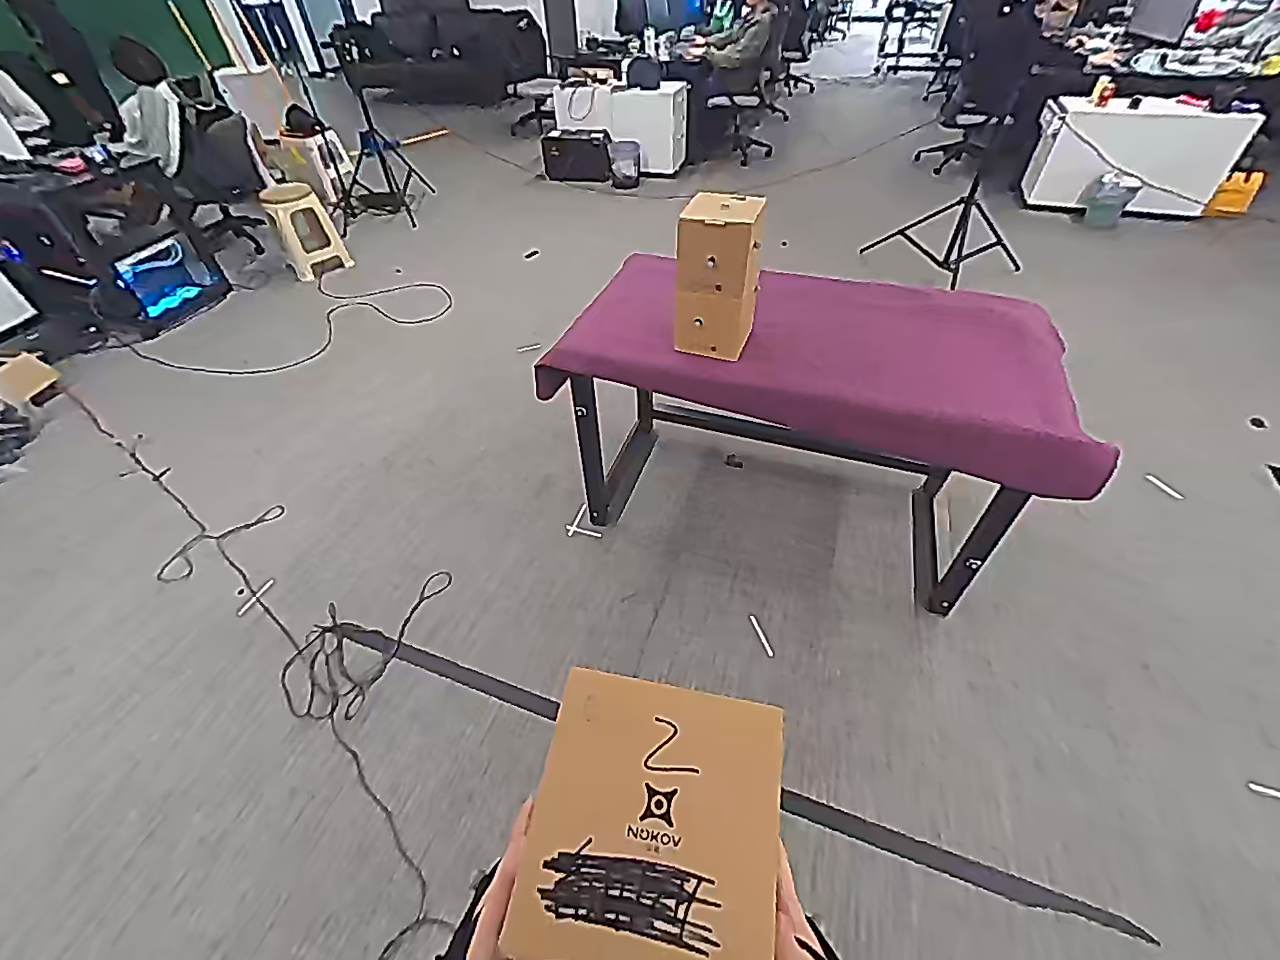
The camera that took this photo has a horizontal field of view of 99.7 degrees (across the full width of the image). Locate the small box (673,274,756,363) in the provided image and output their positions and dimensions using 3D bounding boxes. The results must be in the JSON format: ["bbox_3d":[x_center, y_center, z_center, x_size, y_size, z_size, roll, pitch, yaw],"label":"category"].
[{"bbox_3d":[0.189,-0.420,1.378,0.168,0.176,0.179,14,47,15],"label":"small box"}]

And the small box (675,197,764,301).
[{"bbox_3d":[0.185,-0.539,1.265,0.168,0.176,0.179,13,47,14],"label":"small box"}]
